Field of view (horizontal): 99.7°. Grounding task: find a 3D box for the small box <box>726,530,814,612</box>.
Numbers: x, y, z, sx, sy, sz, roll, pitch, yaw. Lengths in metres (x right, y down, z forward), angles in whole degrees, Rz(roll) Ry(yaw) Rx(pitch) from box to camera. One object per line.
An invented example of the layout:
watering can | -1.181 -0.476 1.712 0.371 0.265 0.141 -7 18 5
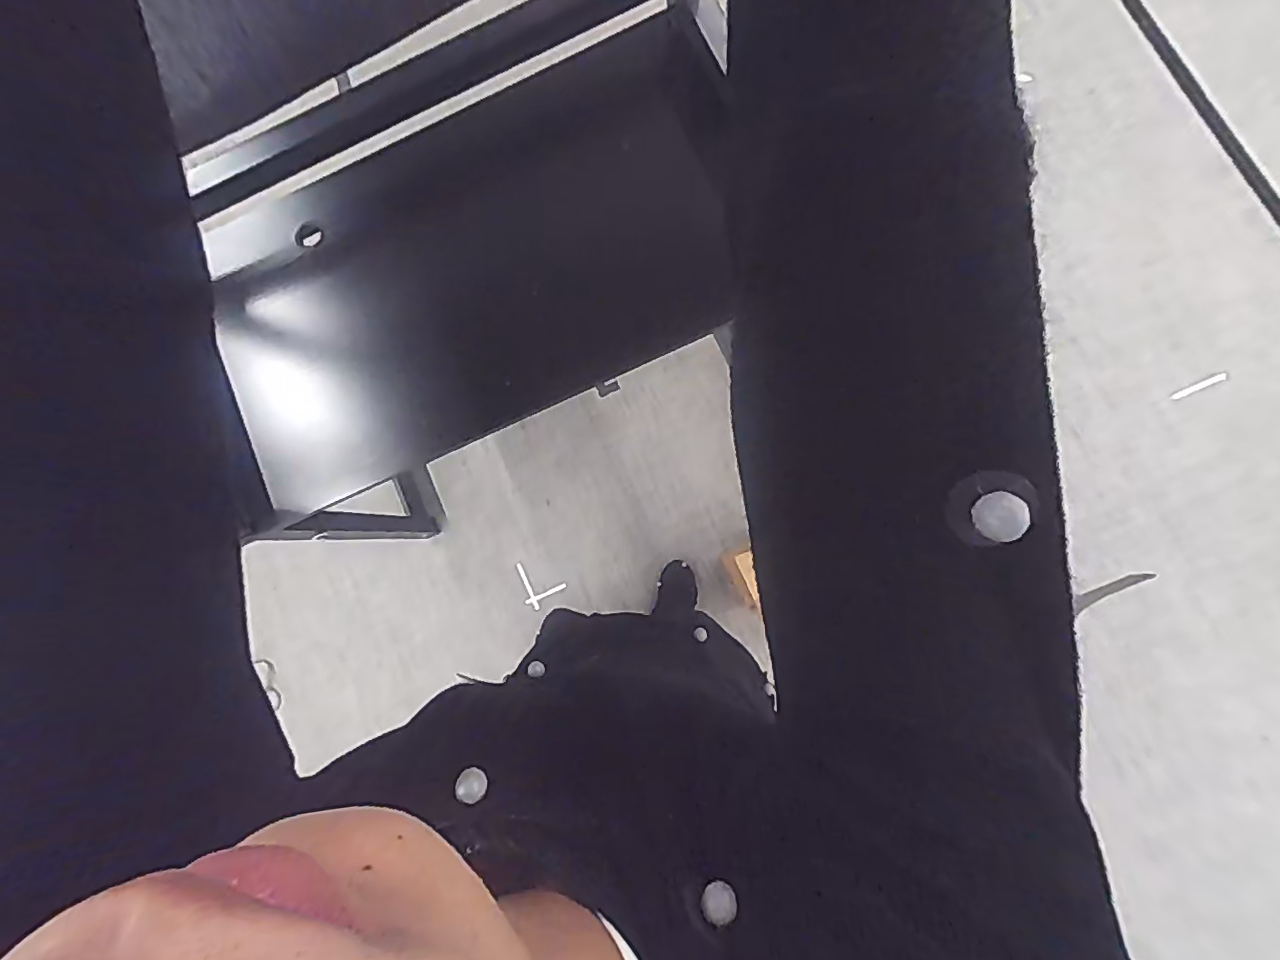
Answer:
small box | 0.351 0.246 1.501 0.179 0.176 0.168 -26 82 4
